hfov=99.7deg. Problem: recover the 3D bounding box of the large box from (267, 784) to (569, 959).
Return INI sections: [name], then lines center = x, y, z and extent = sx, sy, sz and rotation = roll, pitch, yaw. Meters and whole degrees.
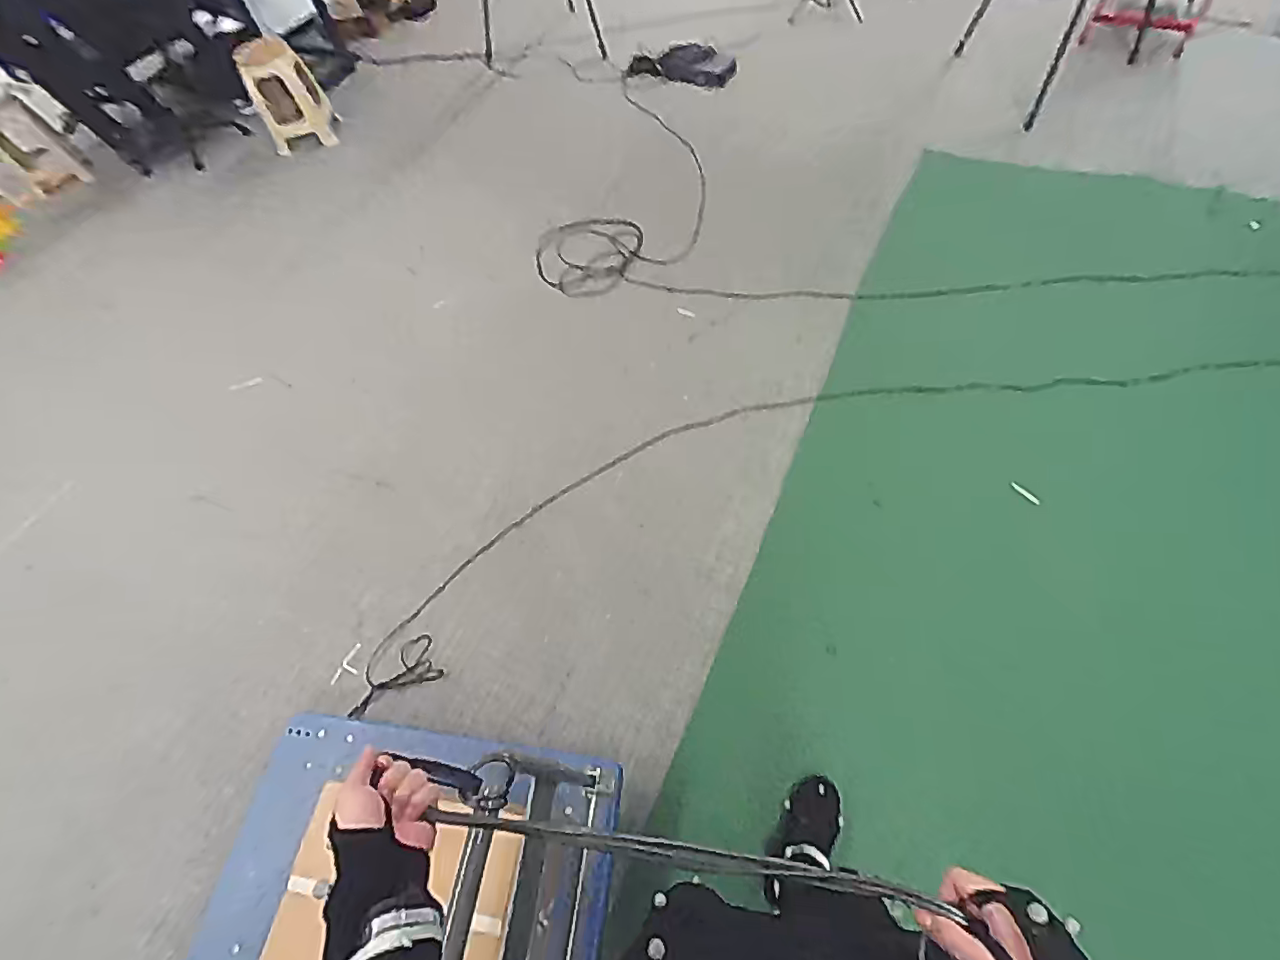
[large box]
center = -0.384, 0.782, 1.029
extent = 0.408, 0.320, 0.320
rotation = 3, 59, 10
